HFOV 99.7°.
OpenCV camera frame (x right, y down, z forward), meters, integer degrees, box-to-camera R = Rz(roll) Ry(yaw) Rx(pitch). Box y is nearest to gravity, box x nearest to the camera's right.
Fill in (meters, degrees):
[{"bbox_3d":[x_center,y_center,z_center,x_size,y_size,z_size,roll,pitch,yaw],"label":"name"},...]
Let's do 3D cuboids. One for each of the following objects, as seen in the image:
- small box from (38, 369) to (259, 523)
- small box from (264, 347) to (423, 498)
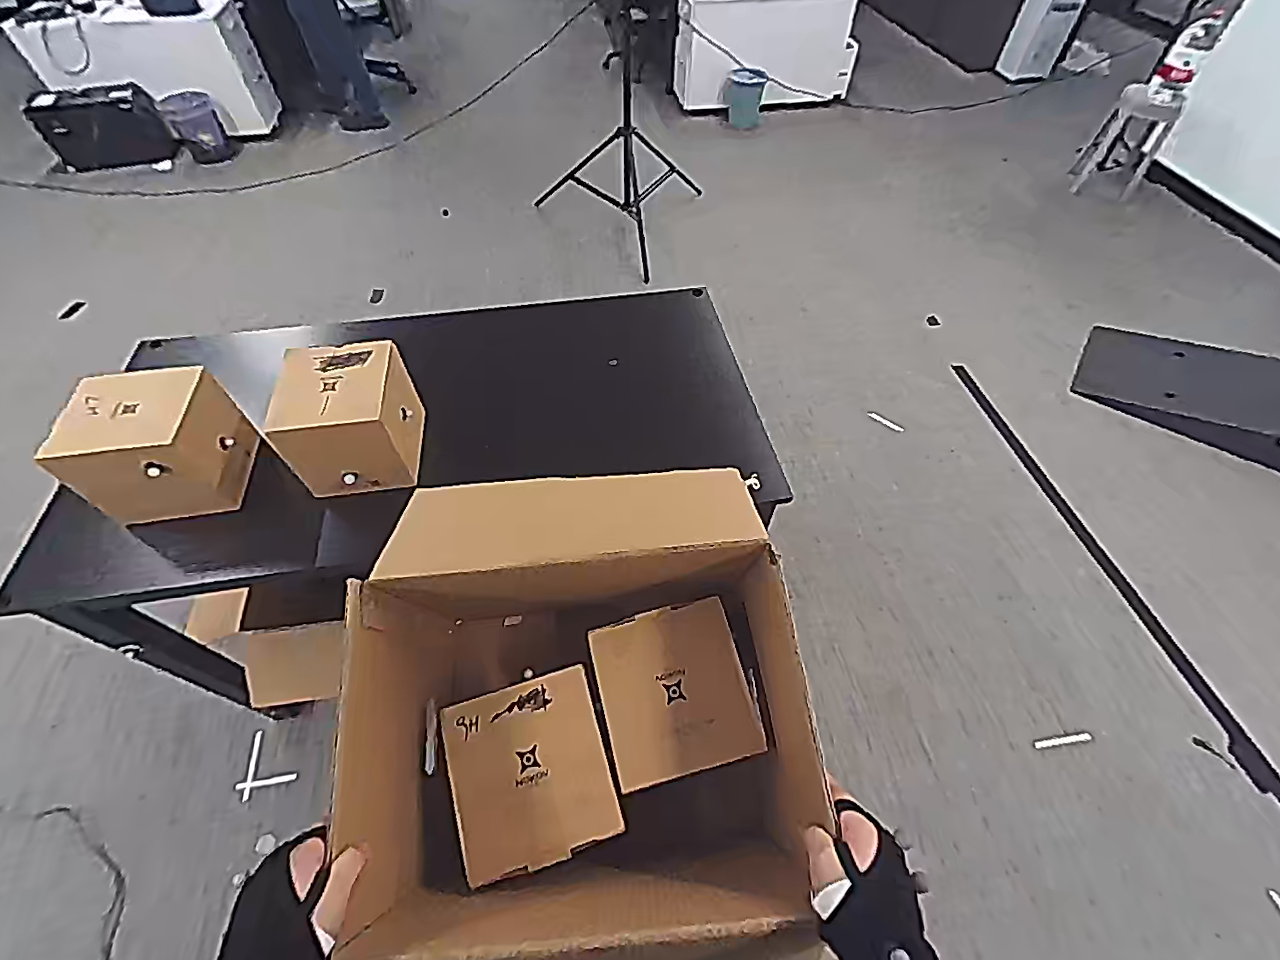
[{"bbox_3d":[-0.748,-0.050,0.853,0.179,0.176,0.168,-8,53,-7],"label":"small box"},{"bbox_3d":[-0.469,-0.094,0.891,0.168,0.176,0.179,-7,54,-5],"label":"small box"}]
